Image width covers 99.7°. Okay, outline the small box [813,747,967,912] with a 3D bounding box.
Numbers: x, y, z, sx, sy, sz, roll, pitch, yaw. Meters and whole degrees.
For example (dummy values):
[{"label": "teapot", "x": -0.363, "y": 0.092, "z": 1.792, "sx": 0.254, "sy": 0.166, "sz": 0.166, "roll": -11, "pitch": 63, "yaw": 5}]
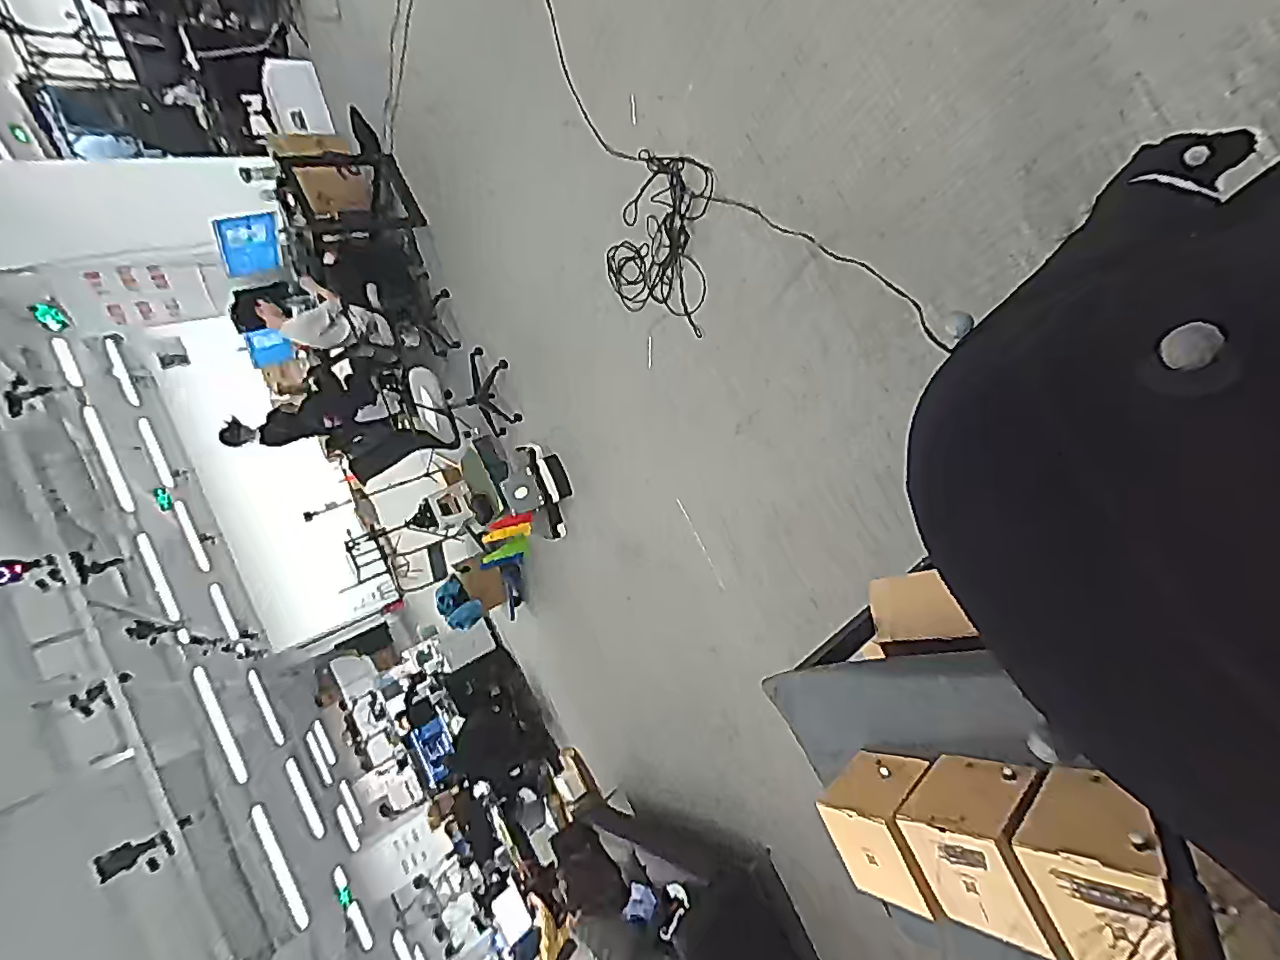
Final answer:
[{"label": "small box", "x": 0.472, "y": 0.641, "z": 1.017, "sx": 0.168, "sy": 0.176, "sz": 0.179, "roll": -33, "pitch": 83, "yaw": 57}]
